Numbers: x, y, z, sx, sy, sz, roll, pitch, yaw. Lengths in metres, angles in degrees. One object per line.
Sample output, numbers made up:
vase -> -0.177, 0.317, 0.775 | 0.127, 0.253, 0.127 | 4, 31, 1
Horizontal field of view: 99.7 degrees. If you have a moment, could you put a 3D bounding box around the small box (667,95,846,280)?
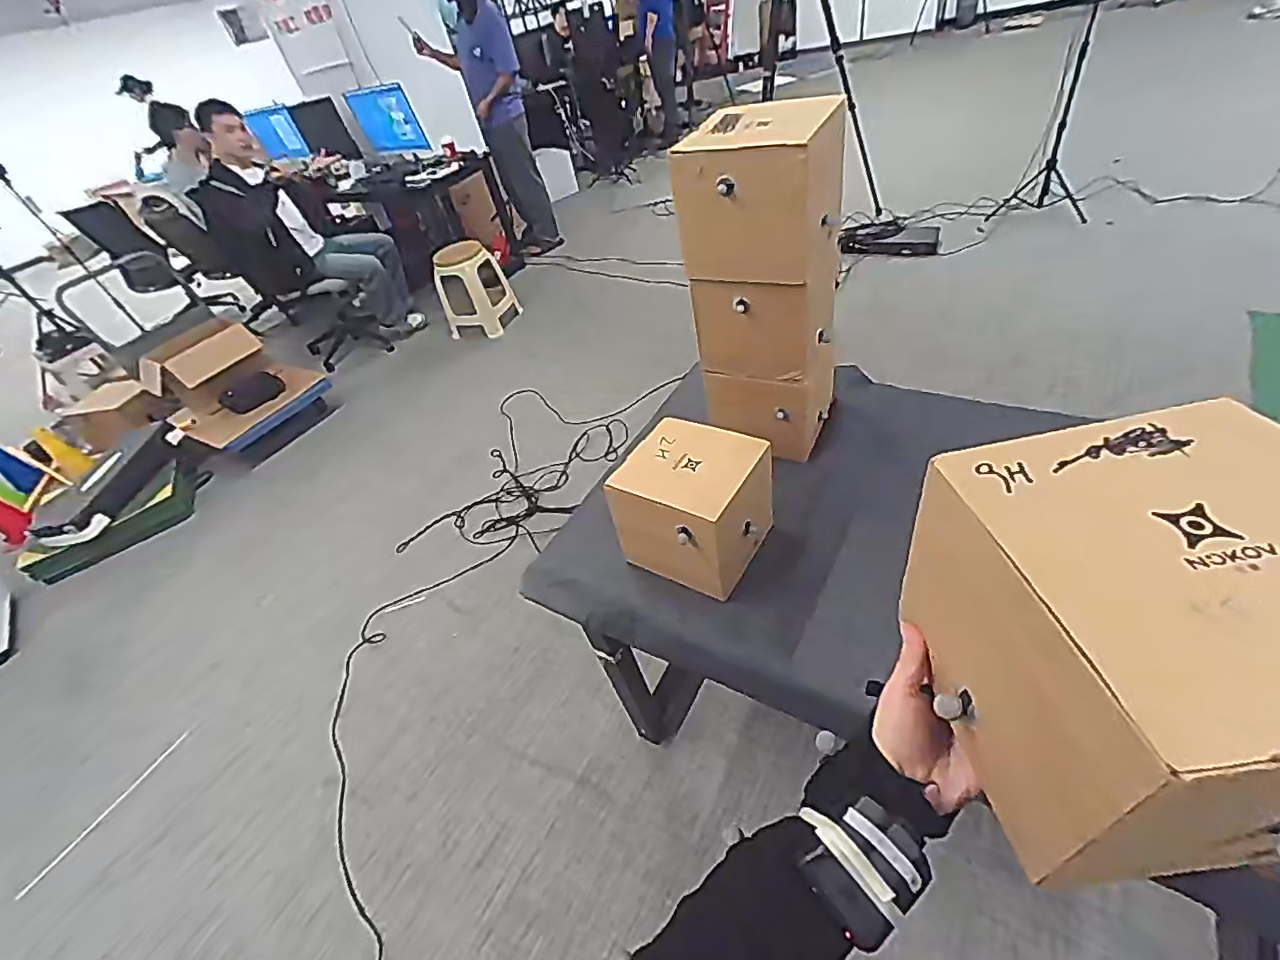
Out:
small box -> 0.160, -0.384, 0.722 | 0.179, 0.176, 0.168 | 15, 53, 28

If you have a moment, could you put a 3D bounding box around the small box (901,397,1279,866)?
small box -> 0.266, 0.086, 0.293 | 0.168, 0.176, 0.179 | -11, 42, 4

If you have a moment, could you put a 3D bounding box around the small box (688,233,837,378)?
small box -> 0.195, -0.277, 0.842 | 0.179, 0.176, 0.168 | 13, 53, 26

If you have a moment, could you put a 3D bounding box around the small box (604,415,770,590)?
small box -> 0.077, 0.034, 0.788 | 0.179, 0.176, 0.168 | 18, 50, 31
